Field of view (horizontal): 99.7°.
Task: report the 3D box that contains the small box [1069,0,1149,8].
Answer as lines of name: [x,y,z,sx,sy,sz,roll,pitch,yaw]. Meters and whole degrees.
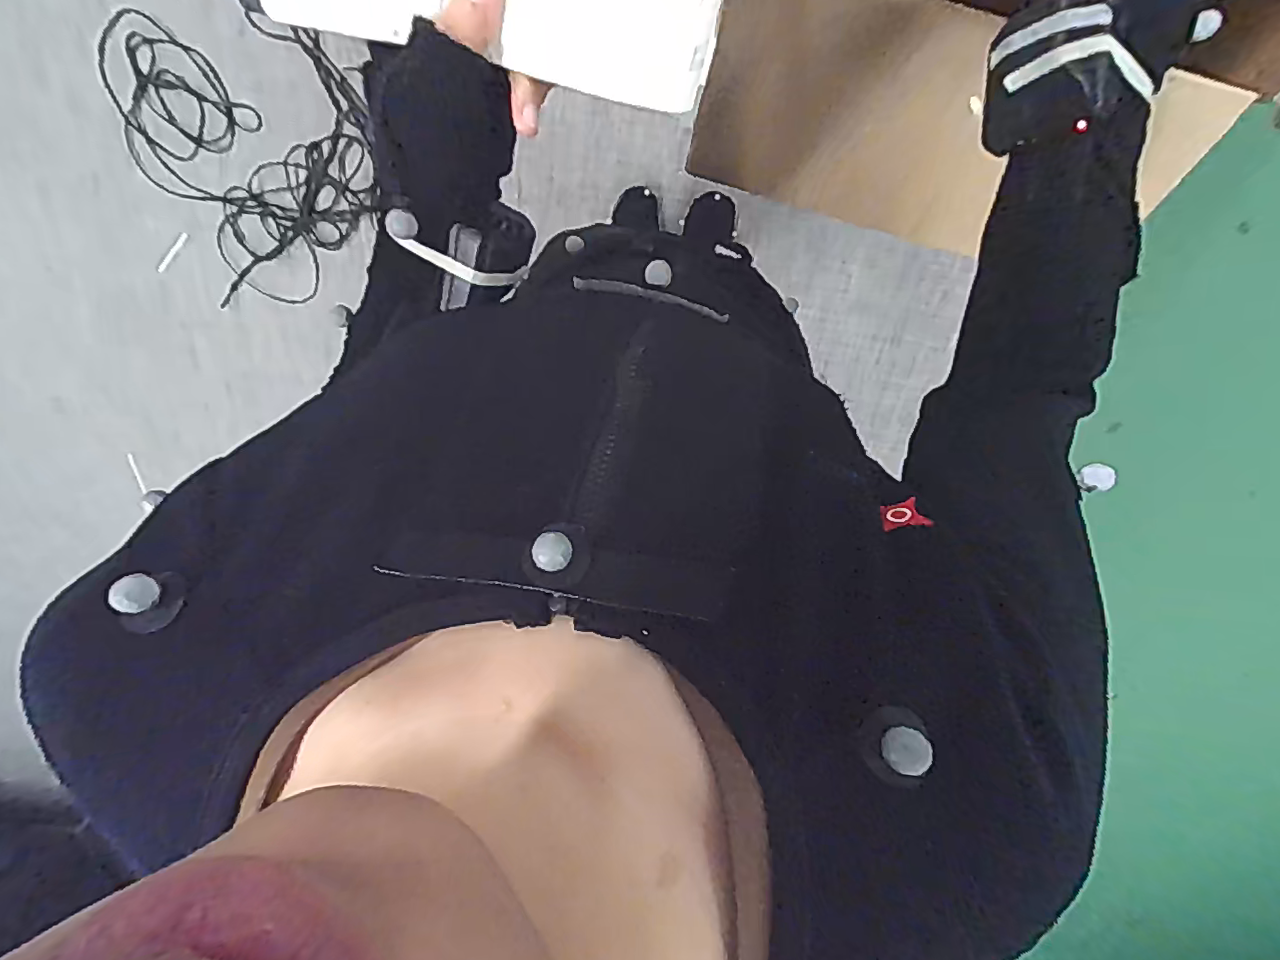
small box: [0.361,-0.442,0.325,0.168,0.176,0.179,34,121,-18]
